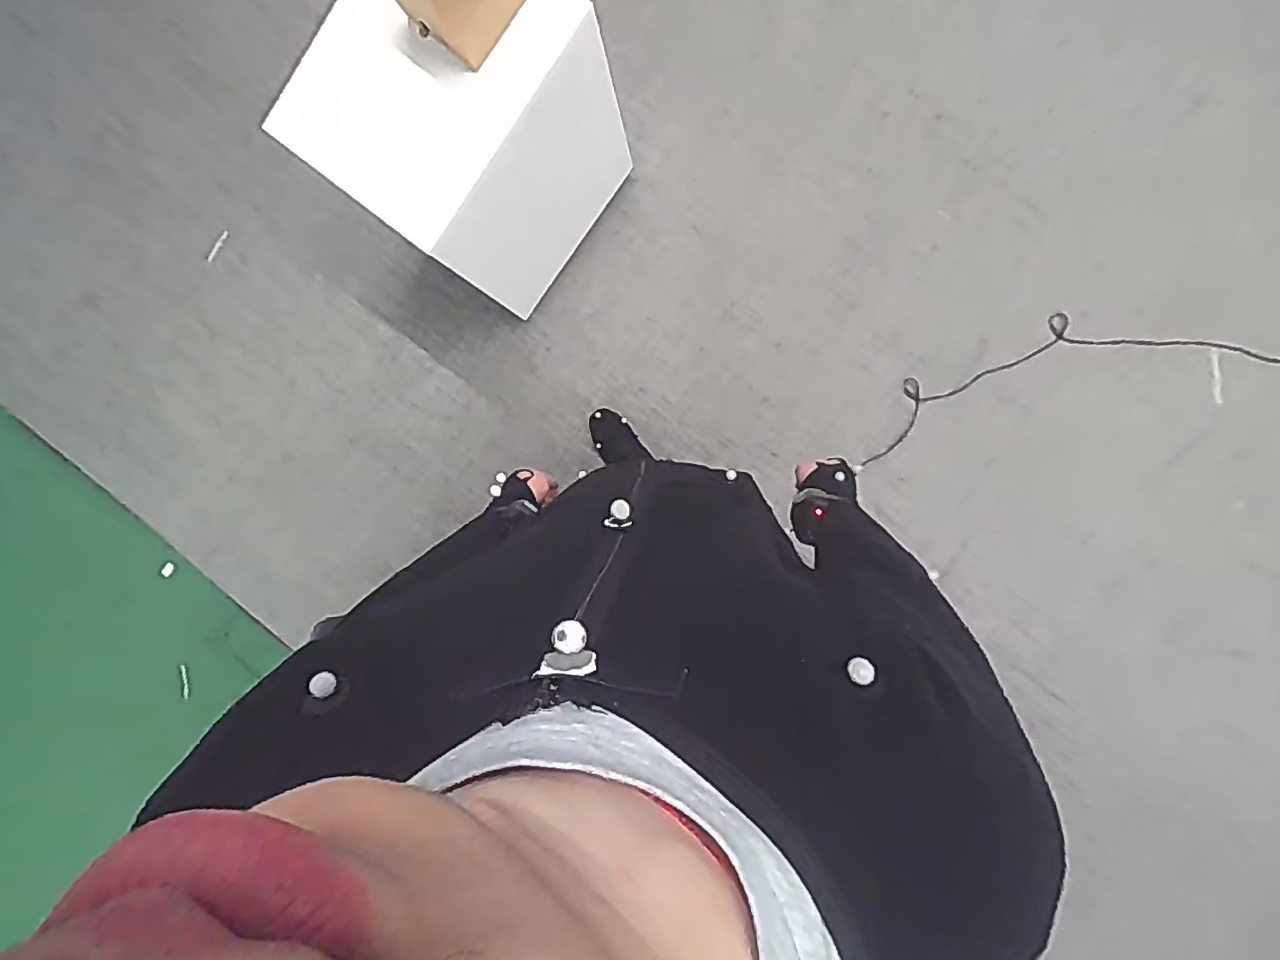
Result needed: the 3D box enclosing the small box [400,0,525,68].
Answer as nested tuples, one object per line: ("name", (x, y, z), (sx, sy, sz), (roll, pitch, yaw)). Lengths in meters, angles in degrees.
("small box", (-0.298, -0.817, 0.849), (0.168, 0.176, 0.179), (39, 99, 4))
